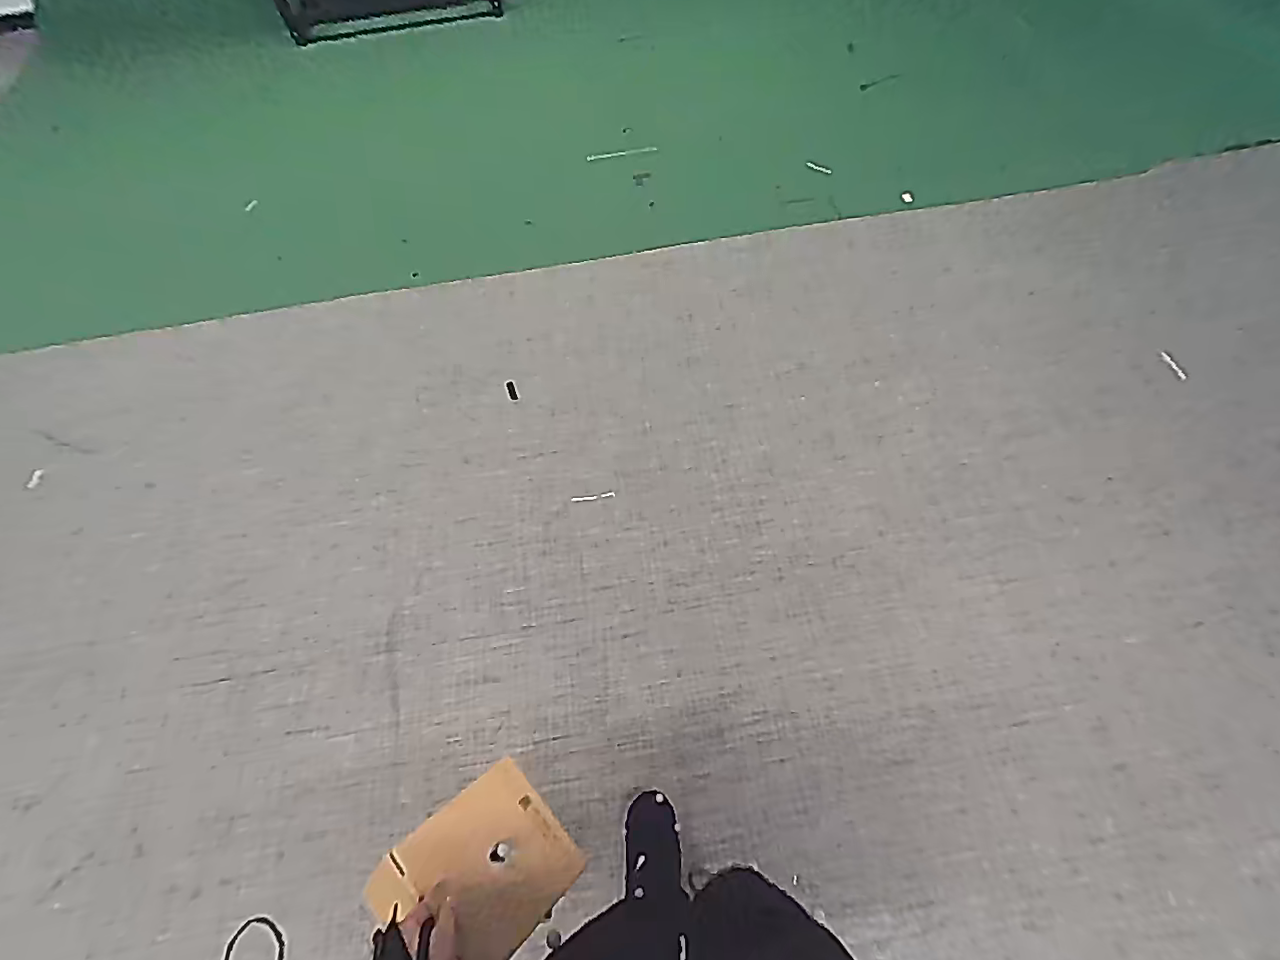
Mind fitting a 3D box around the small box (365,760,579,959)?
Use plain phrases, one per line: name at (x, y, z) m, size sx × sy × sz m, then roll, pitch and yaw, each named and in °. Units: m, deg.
small box at (-0.202, 0.489, 0.669) m, size 0.168 × 0.179 × 0.176 m, roll 45°, pitch 36°, yaw 15°
